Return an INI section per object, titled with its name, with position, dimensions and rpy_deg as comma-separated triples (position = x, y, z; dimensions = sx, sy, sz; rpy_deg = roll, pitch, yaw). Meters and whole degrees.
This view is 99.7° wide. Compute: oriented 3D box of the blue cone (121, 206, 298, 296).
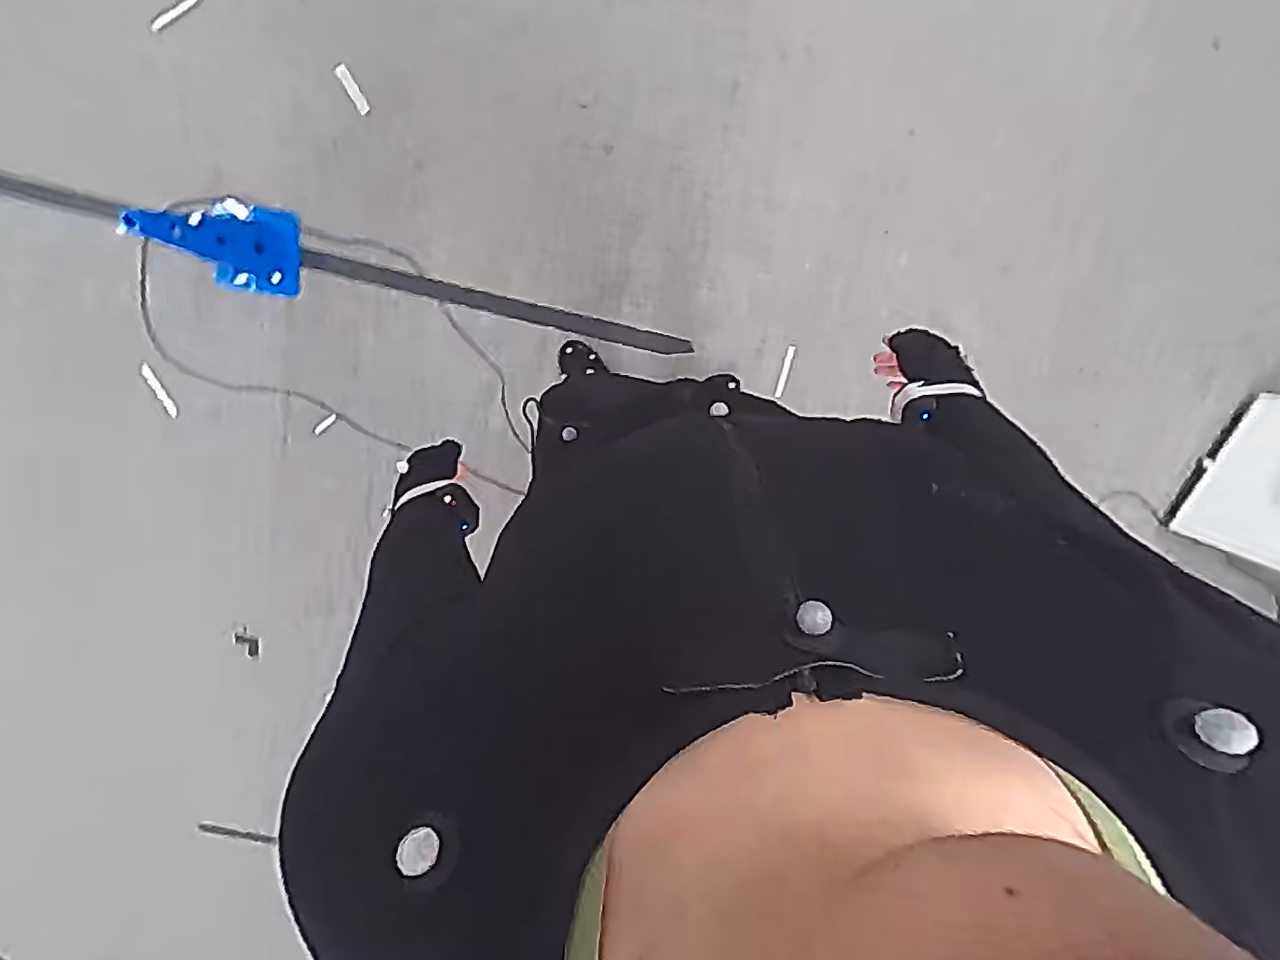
[blue cone]
position = -0.919, -0.507, 1.142
dimensions = 0.193, 0.380, 0.192
rpy_deg = 7, 105, -4
